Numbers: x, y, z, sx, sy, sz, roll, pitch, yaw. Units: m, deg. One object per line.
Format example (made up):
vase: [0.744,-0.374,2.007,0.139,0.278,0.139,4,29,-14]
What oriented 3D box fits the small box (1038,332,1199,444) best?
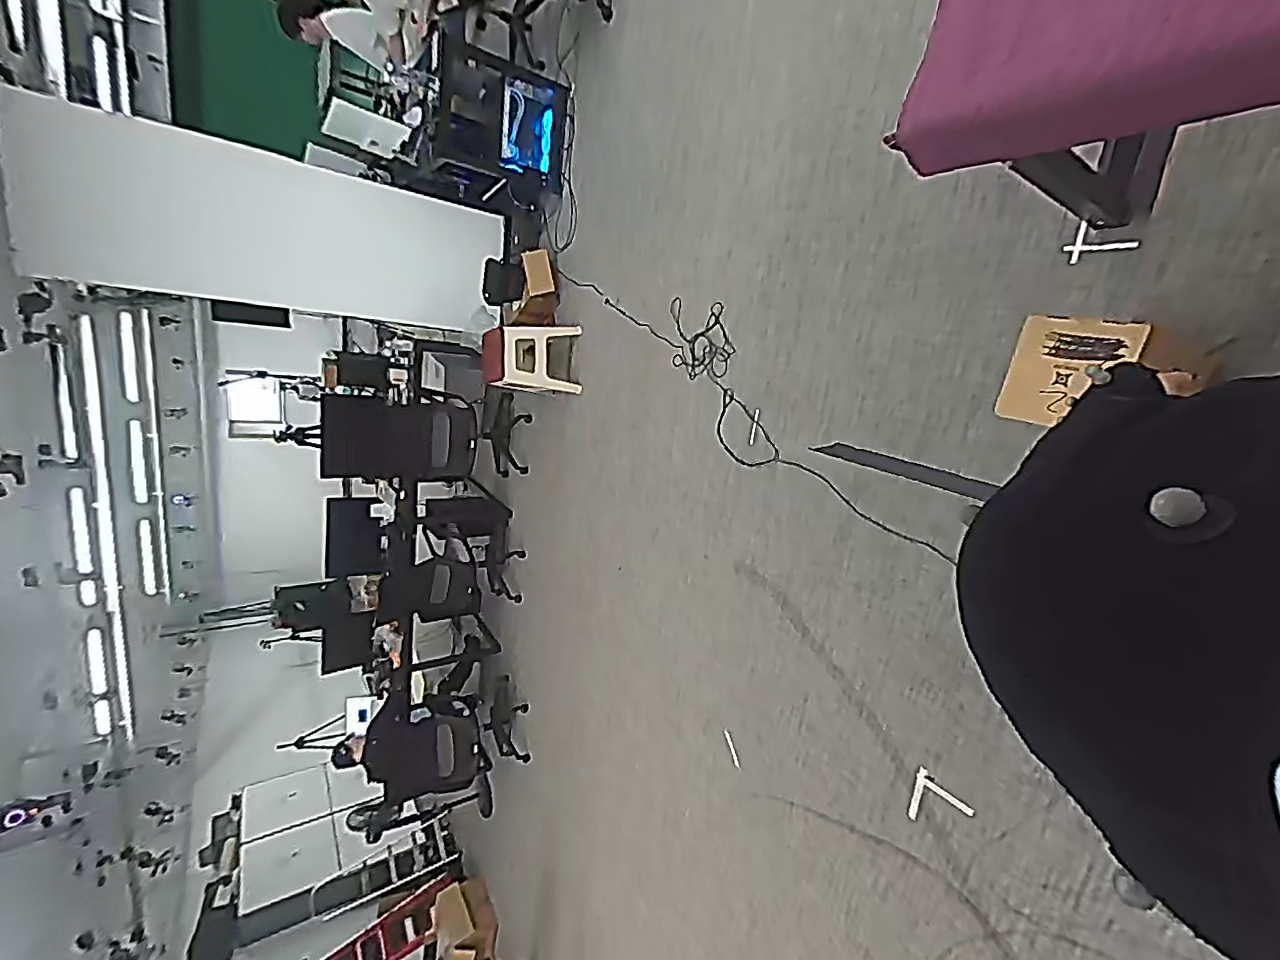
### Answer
small box: [0.886,-0.170,1.001,0.168,0.176,0.179,27,114,51]

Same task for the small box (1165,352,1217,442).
small box: [1.017,-0.181,1.101,0.168,0.176,0.179,34,119,49]
